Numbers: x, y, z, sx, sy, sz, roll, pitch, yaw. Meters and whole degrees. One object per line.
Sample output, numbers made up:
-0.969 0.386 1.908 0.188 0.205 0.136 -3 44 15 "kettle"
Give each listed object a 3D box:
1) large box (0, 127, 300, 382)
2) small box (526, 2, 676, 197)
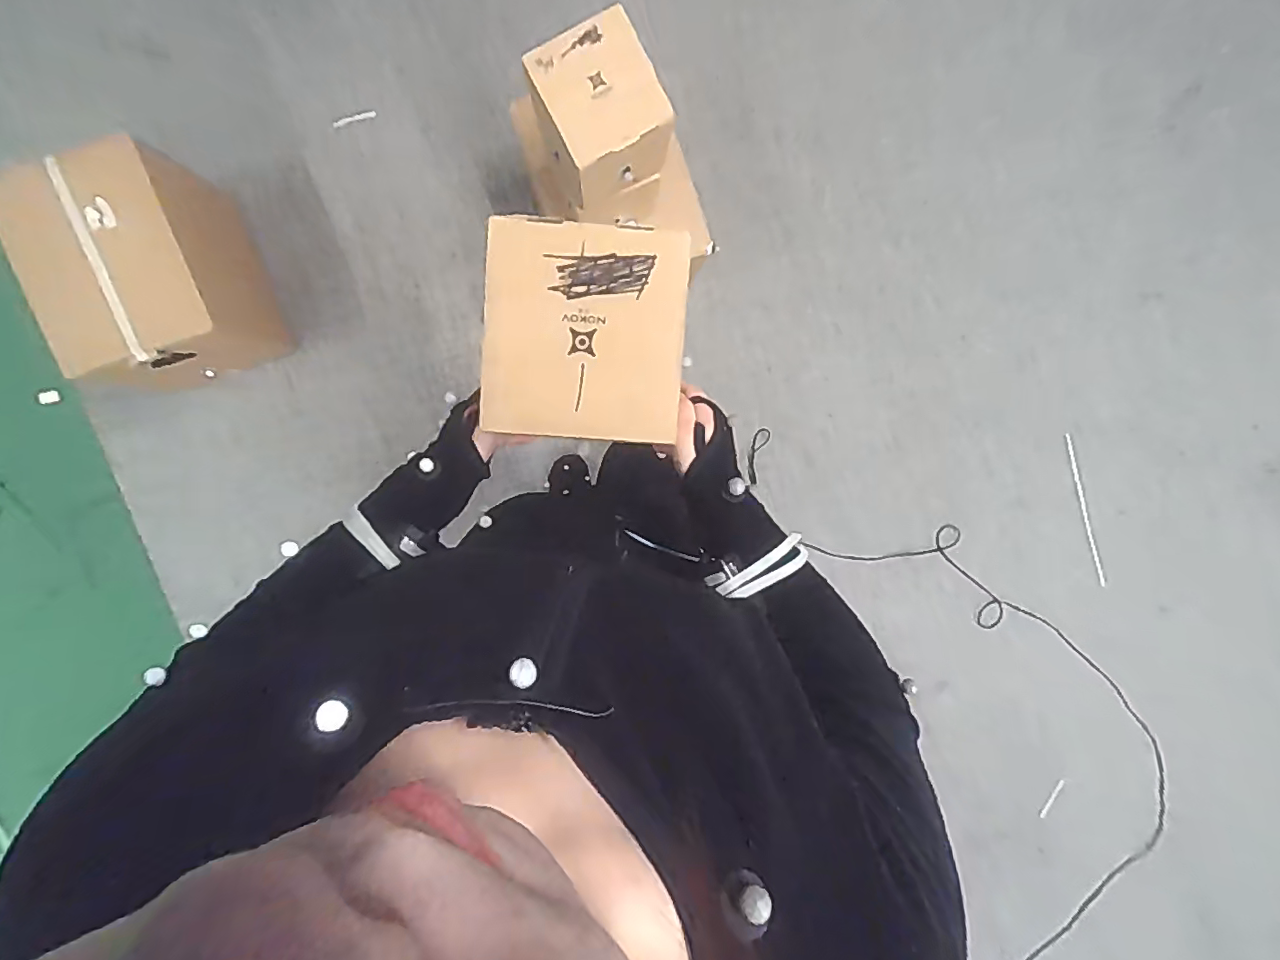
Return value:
-1.068 -0.467 1.216 0.320 0.320 0.408 -19 96 -1 "large box"
-0.058 -0.584 0.865 0.168 0.176 0.179 -27 98 1 "small box"
